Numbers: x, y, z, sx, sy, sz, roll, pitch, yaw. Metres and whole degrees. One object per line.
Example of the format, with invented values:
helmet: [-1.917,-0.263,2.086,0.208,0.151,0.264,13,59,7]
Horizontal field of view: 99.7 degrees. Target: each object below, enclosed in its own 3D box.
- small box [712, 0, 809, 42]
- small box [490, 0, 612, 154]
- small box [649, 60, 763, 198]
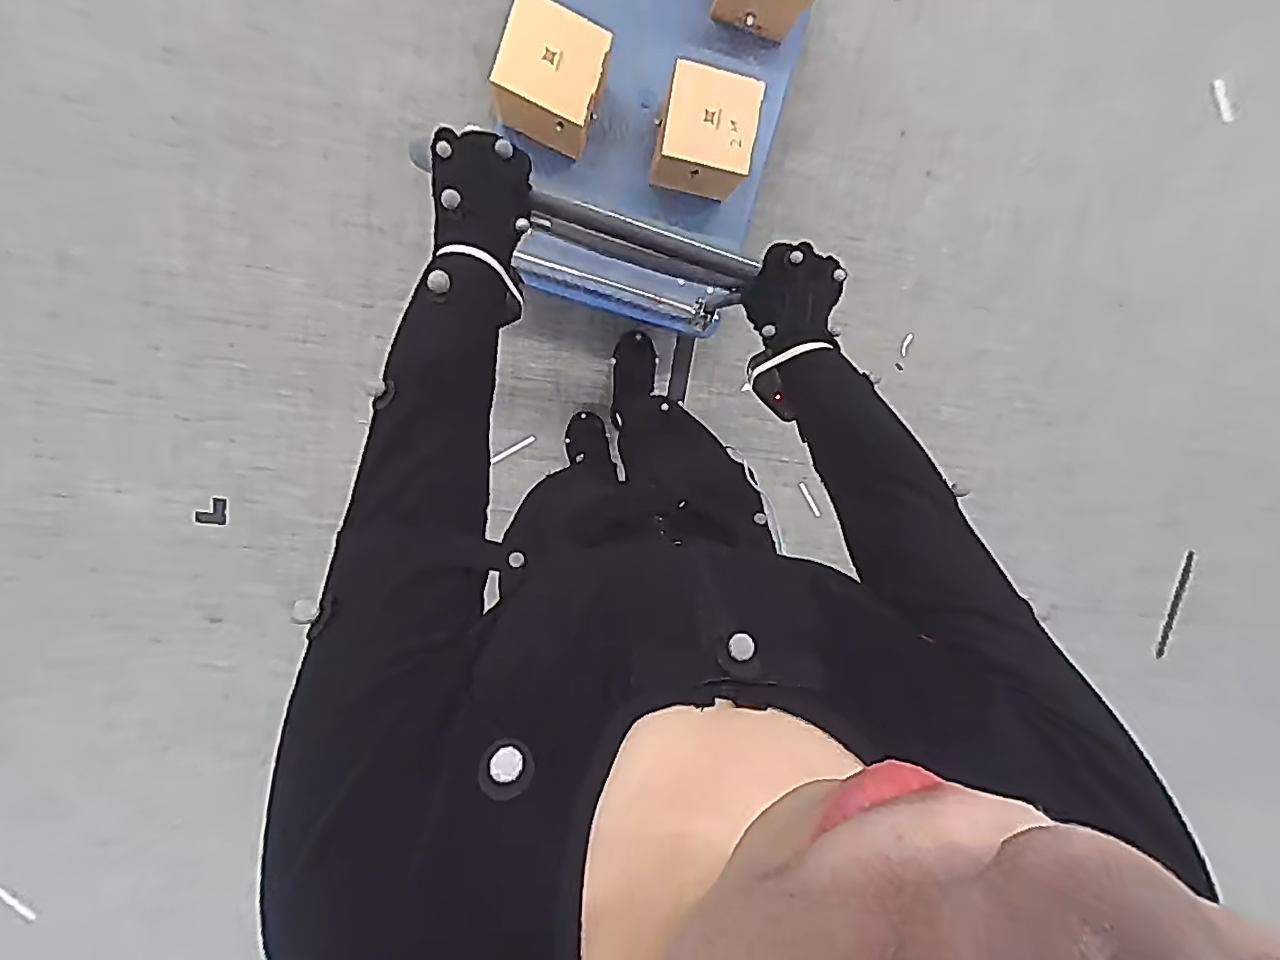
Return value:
small box: [0.252,-1.012,1.046,0.168,0.176,0.179,12,101,-10]
small box: [-0.170,-0.766,1.038,0.179,0.176,0.168,19,98,-13]
small box: [0.123,-0.696,1.096,0.179,0.176,0.168,8,101,-10]
